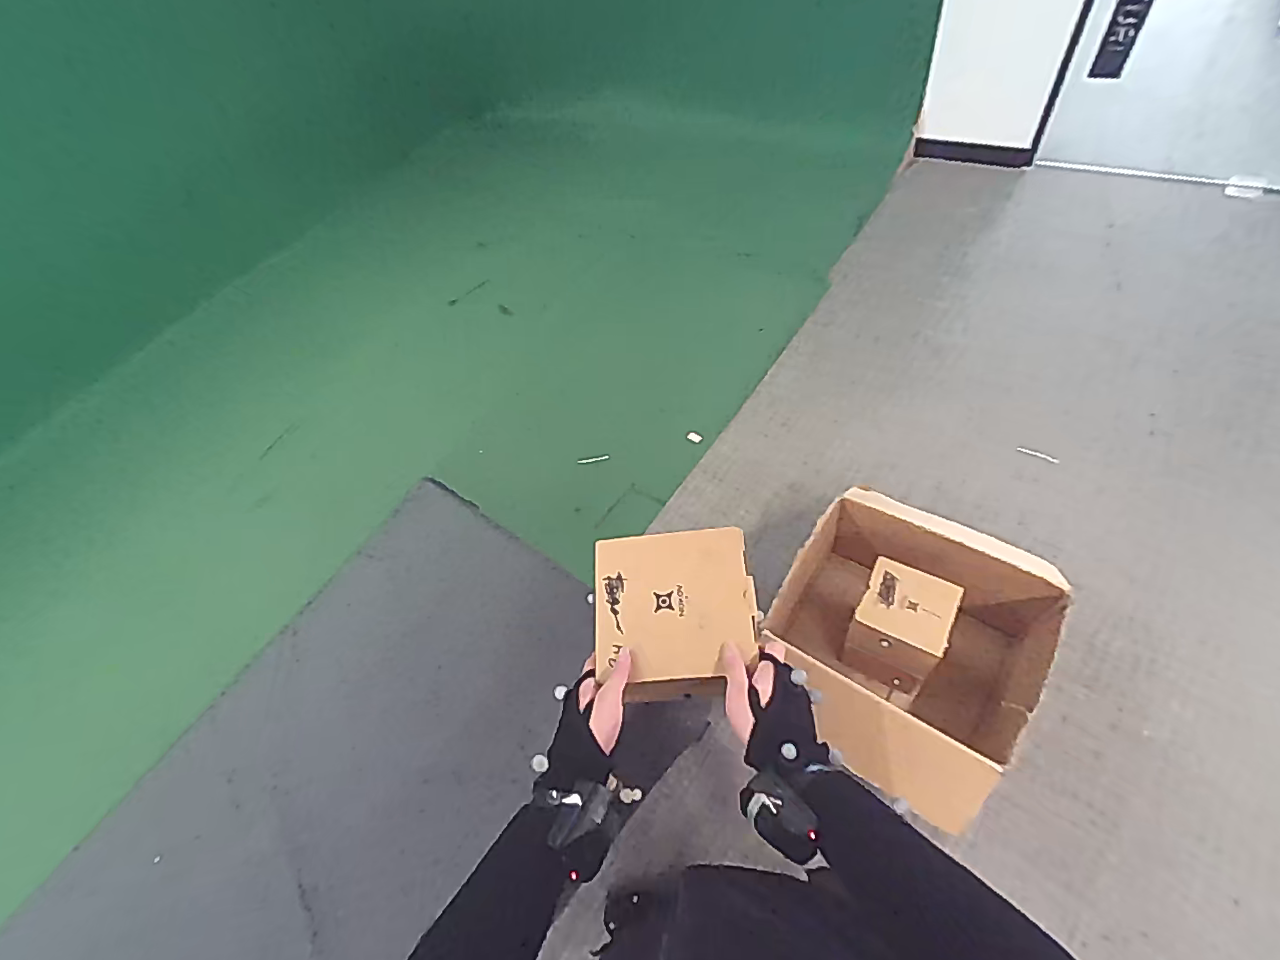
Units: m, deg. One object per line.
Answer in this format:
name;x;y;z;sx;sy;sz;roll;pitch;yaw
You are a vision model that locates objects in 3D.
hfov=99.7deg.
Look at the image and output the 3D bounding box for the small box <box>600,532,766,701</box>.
small box;0.053;0.179;0.683;0.179;0.176;0.168;-8;62;6
